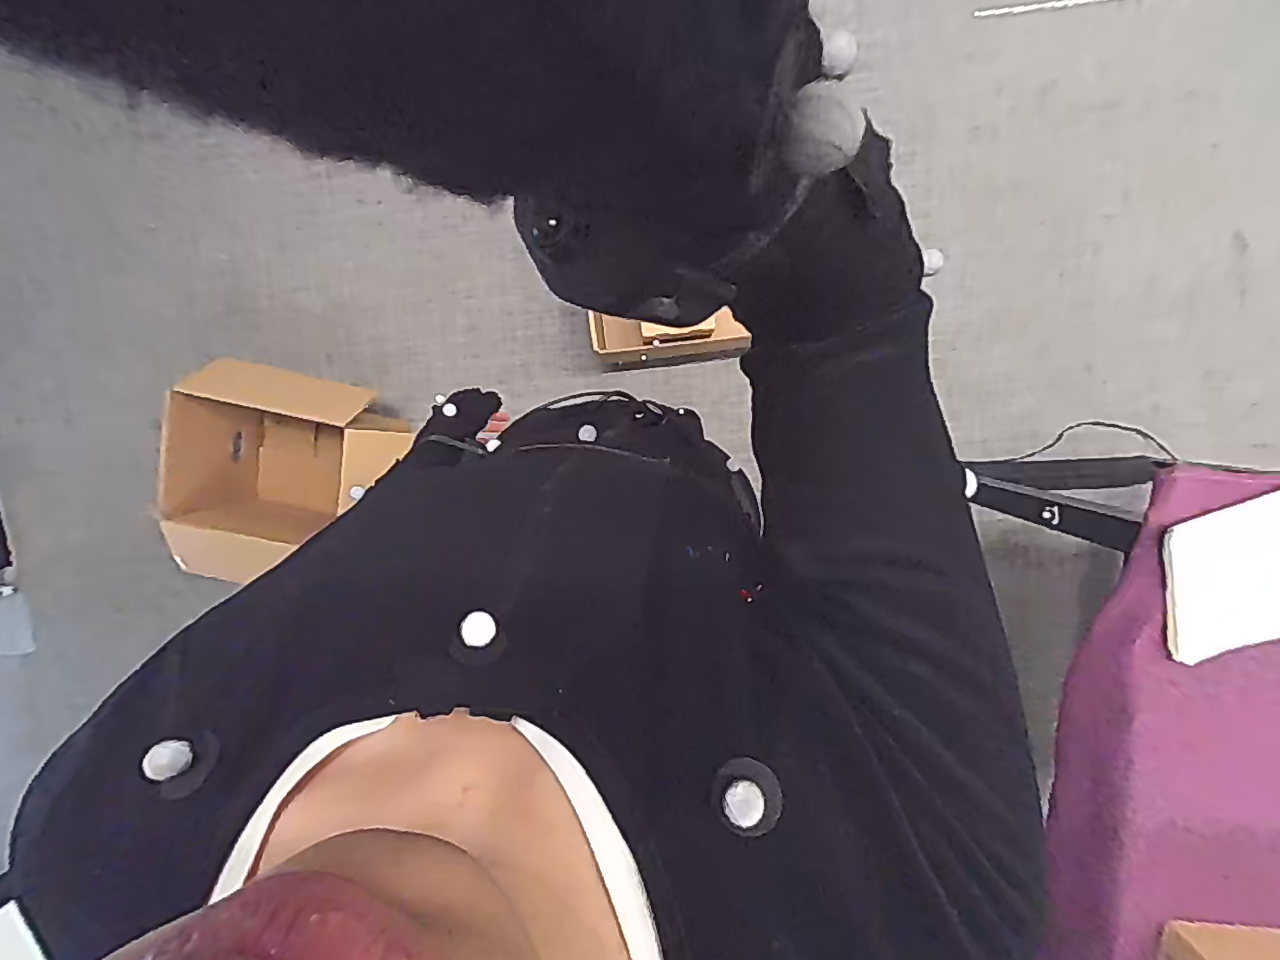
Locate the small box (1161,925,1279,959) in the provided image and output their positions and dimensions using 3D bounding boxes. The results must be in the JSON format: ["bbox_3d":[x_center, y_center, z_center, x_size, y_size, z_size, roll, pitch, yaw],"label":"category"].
[{"bbox_3d":[0.824,0.717,0.689,0.179,0.176,0.168,3,97,3],"label":"small box"}]
